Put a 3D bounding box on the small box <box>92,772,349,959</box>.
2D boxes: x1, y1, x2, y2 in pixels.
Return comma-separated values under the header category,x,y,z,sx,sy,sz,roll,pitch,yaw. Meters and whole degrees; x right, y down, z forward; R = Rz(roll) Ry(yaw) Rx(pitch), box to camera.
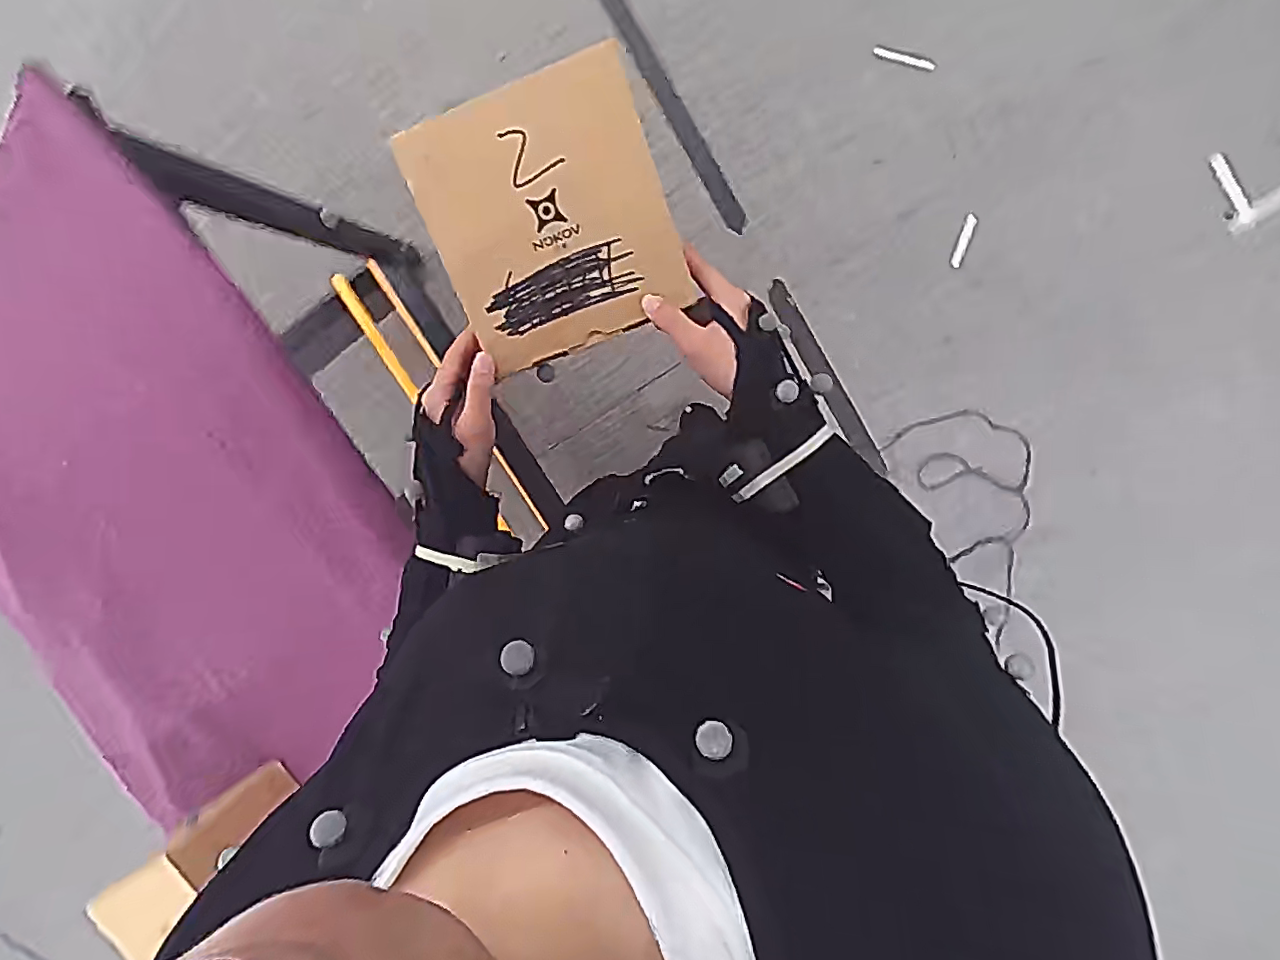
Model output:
category,x,y,z,sx,sy,sz,roll,pitch,yaw
small box,-0.548,0.533,0.729,0.168,0.176,0.179,-35,94,13
